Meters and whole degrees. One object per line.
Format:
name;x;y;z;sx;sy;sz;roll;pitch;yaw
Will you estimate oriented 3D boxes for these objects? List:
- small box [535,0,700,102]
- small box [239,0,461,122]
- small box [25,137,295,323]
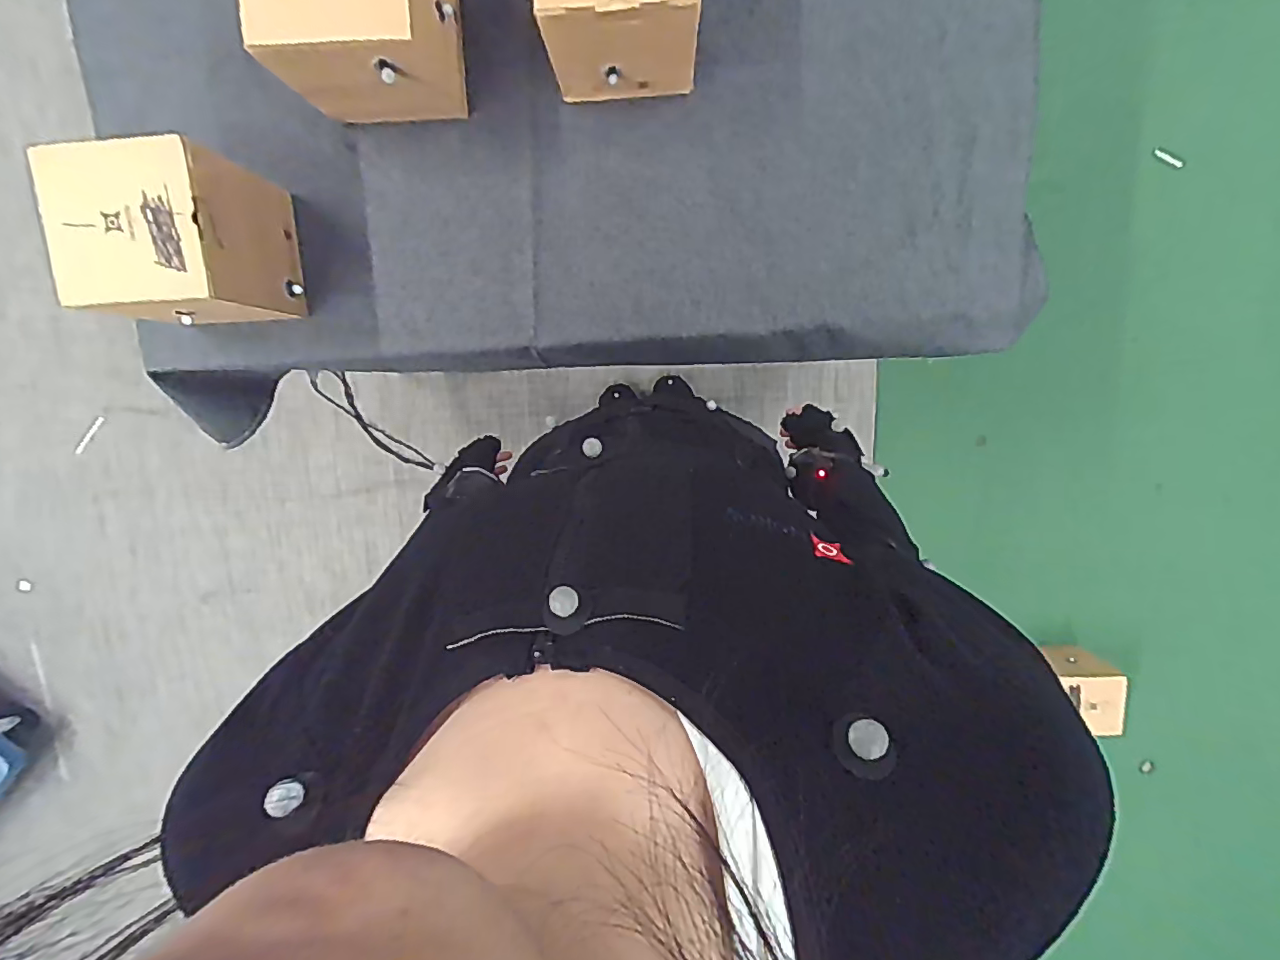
small box;-0.024;-0.559;0.599;0.168;0.176;0.179;-3;100;2
small box;-0.312;-0.530;0.608;0.179;0.176;0.168;-1;100;1
small box;-0.553;-0.287;0.655;0.179;0.176;0.168;-2;99;2
